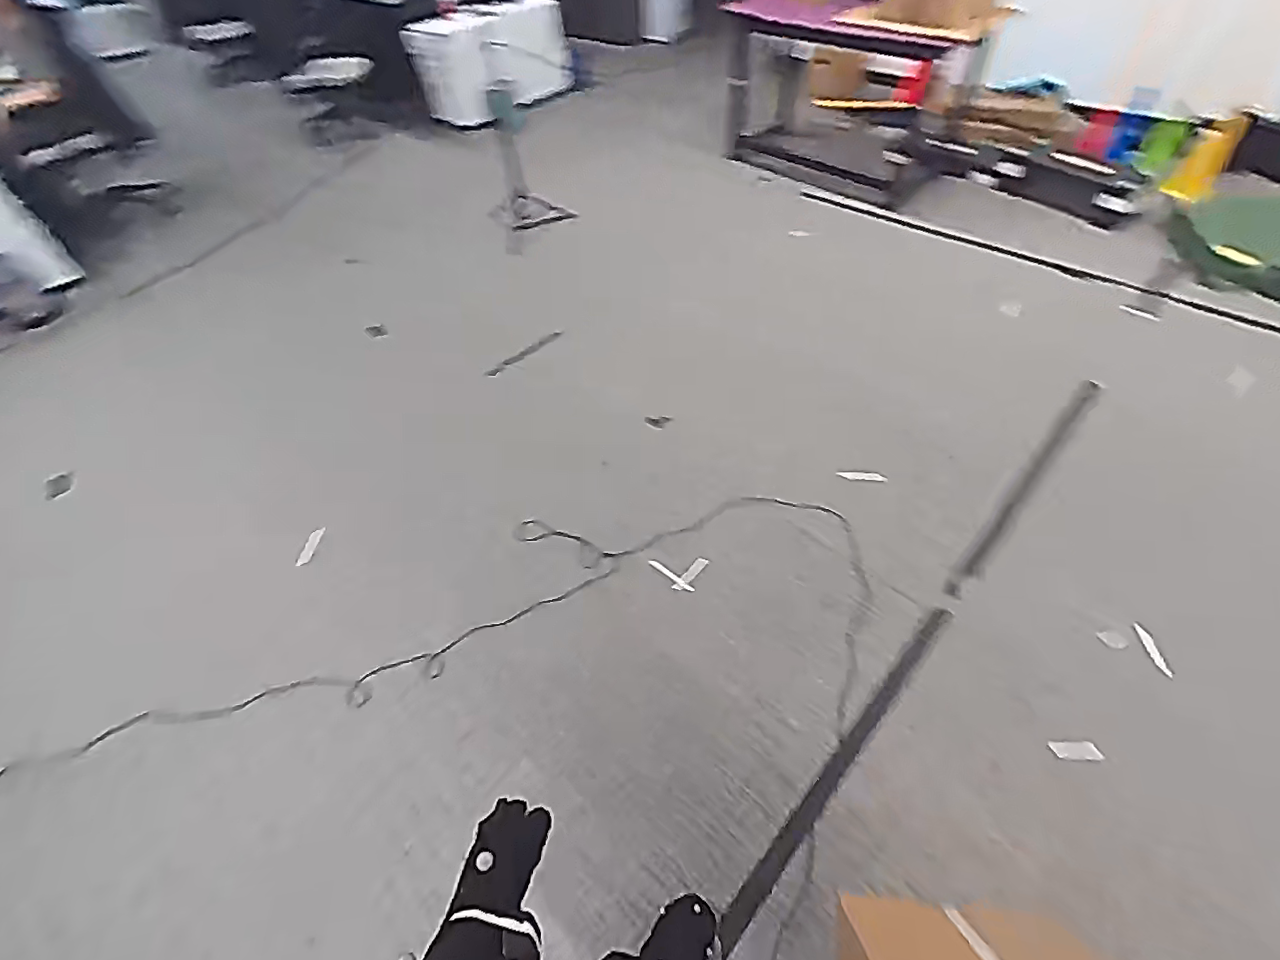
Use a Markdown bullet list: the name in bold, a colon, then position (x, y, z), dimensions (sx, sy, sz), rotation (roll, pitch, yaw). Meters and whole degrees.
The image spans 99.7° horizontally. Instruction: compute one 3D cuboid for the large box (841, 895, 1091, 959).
- **large box**: position (0.422, 0.742, 0.575), dimensions (0.320, 0.408, 0.320), rotation (3, 79, 6)
